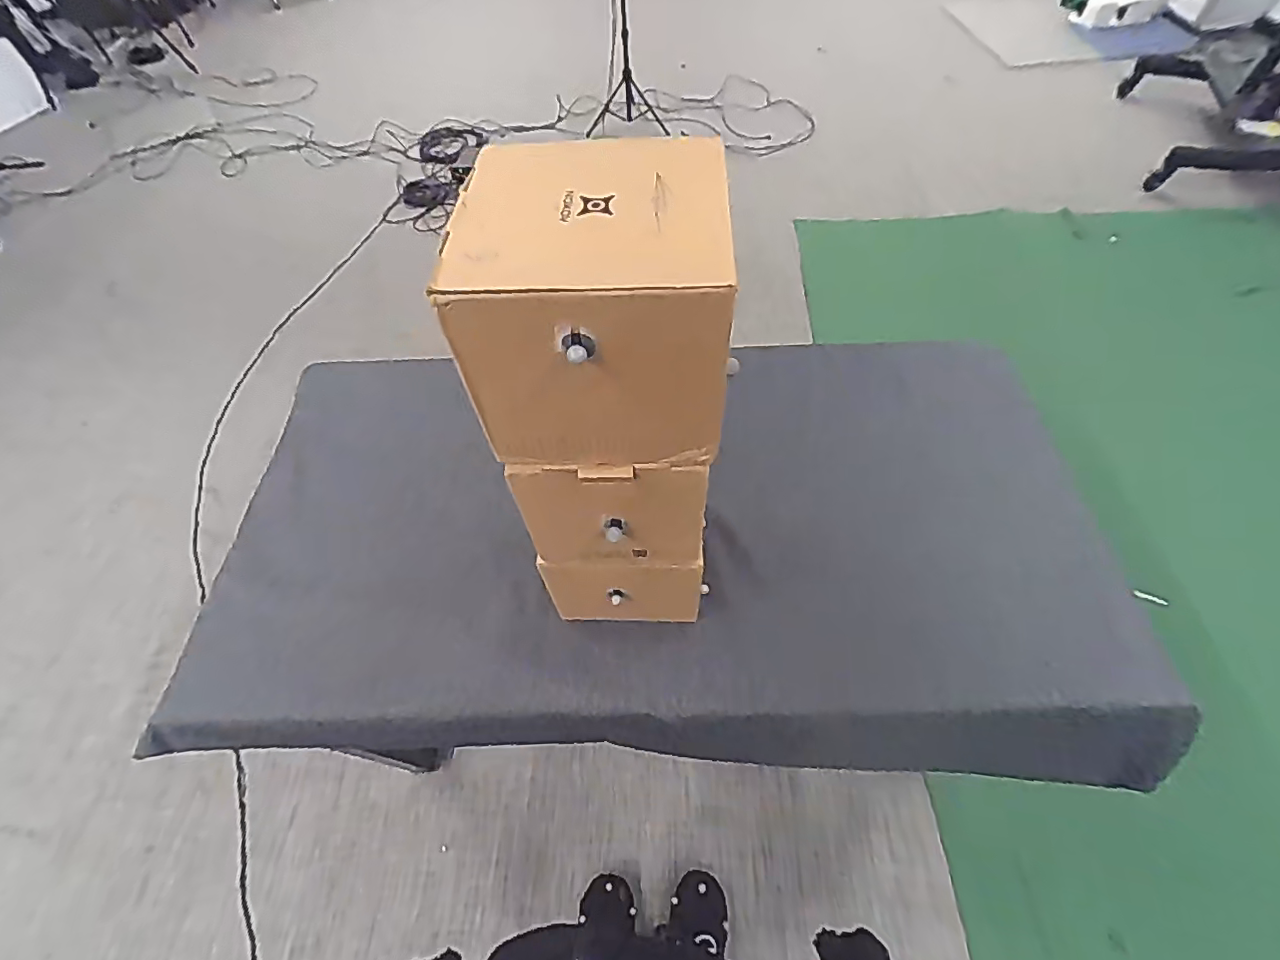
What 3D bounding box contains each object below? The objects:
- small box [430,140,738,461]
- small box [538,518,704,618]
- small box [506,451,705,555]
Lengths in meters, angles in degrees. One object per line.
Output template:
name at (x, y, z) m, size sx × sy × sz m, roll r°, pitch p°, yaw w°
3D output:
small box at (-0.026, -0.126, 0.407) m, size 0.179 × 0.176 × 0.168 m, roll 1°, pitch 57°, yaw 2°
small box at (-0.014, 0.064, 0.672) m, size 0.179 × 0.176 × 0.168 m, roll 0°, pitch 56°, yaw 4°
small box at (-0.022, -0.034, 0.541) m, size 0.168 × 0.176 × 0.179 m, roll -1°, pitch 57°, yaw 2°
